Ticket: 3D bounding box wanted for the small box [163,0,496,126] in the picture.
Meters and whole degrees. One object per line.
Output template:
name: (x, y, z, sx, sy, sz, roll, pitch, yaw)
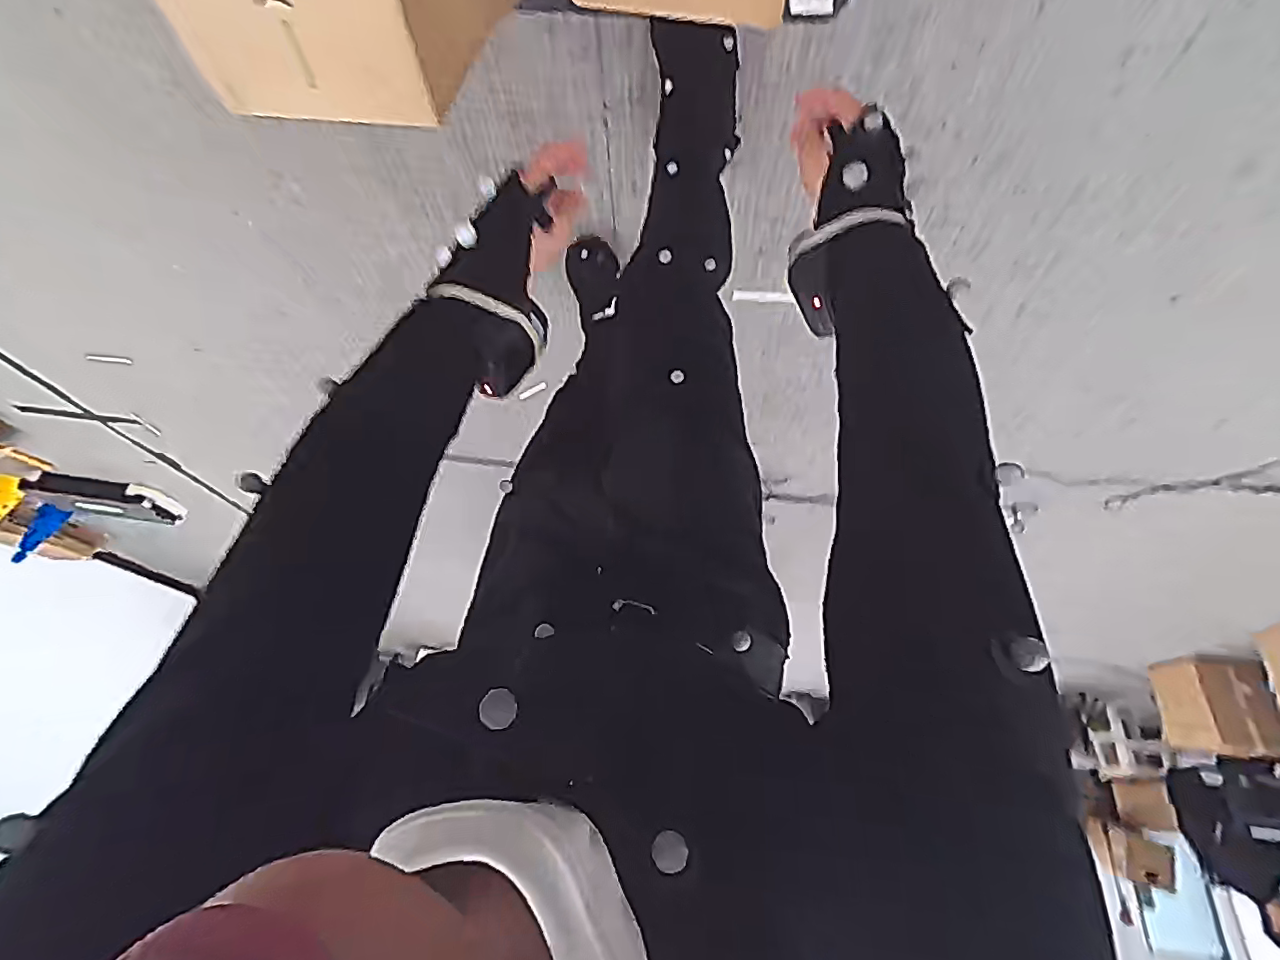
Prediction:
small box: (-0.211, -0.377, 0.359, 0.168, 0.176, 0.179, 7, 151, 4)
